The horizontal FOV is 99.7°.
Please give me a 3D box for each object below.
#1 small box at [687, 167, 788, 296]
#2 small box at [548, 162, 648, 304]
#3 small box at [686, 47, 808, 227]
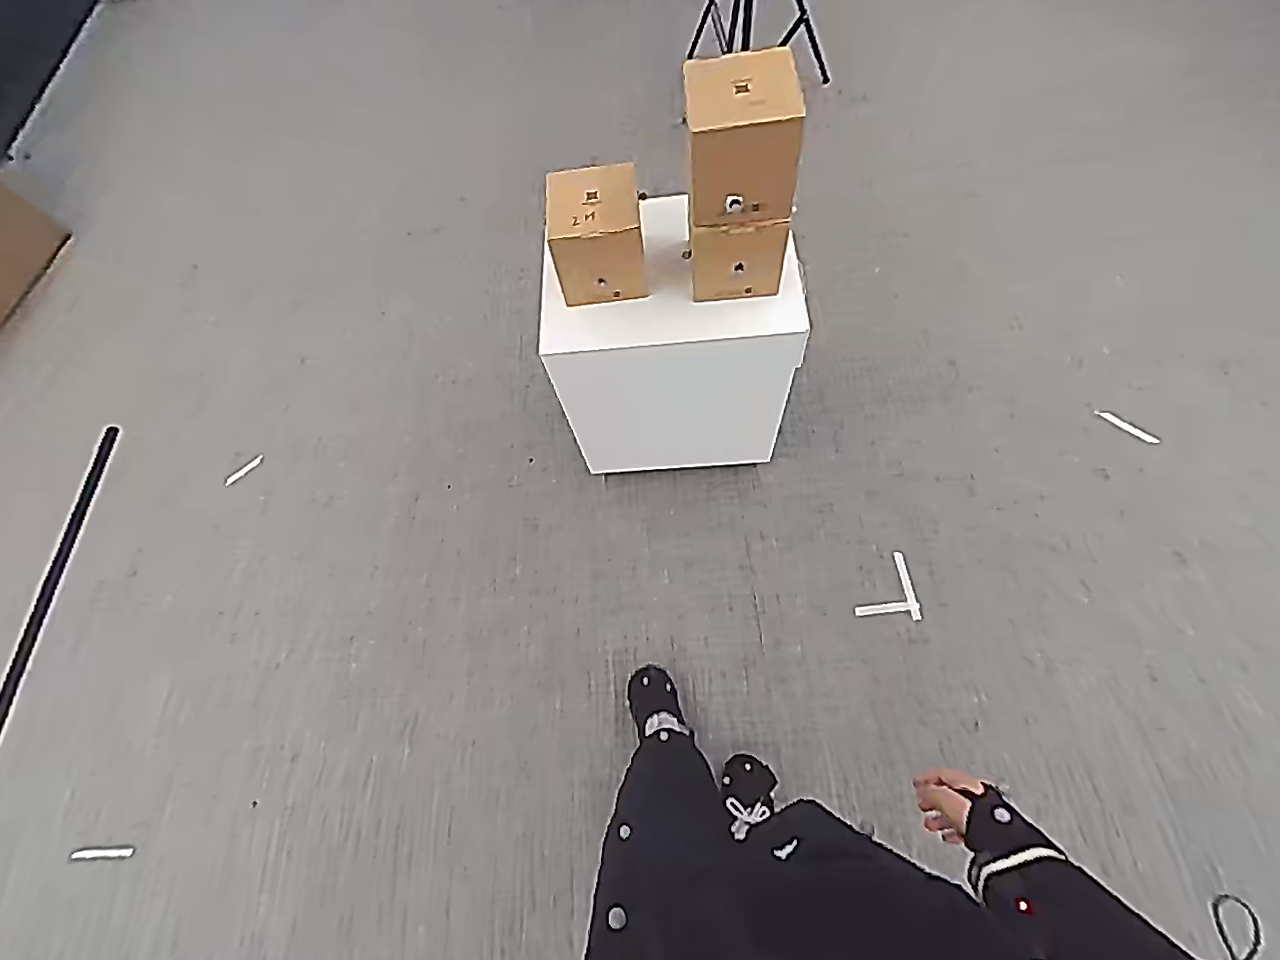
[{"bbox_3d":[0.177,-0.463,1.009,0.168,0.176,0.179,-3,67,6],"label":"small box"},{"bbox_3d":[-0.077,-0.466,1.036,0.168,0.176,0.179,-6,66,3],"label":"small box"},{"bbox_3d":[0.160,-0.540,0.865,0.168,0.176,0.179,-5,66,6],"label":"small box"}]
